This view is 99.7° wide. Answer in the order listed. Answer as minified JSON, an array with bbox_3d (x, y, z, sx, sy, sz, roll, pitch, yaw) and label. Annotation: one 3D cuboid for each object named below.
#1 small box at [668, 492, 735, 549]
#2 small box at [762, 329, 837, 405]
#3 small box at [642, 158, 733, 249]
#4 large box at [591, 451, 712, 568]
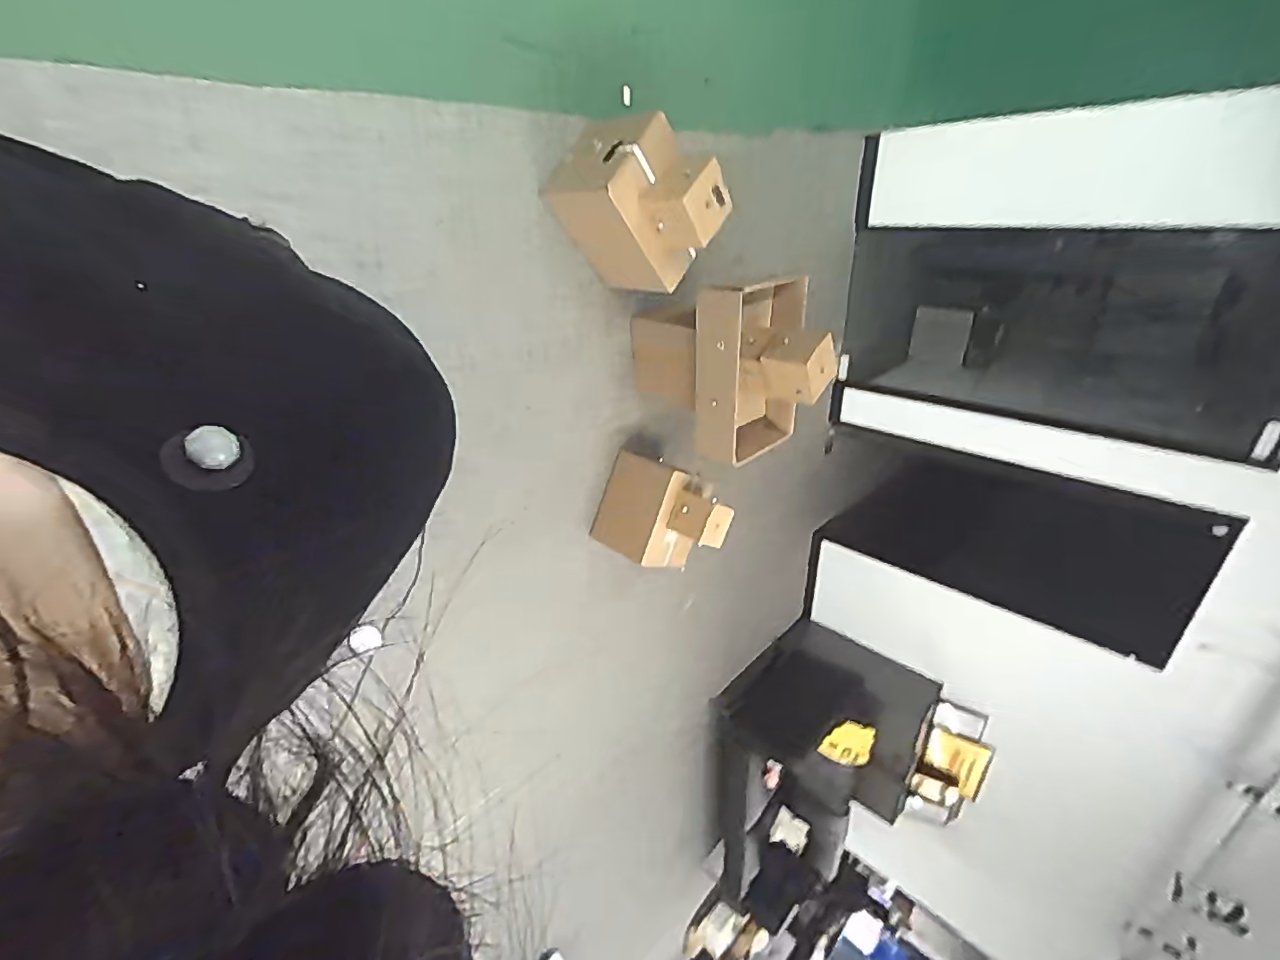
[{"bbox_3d":[0.243,0.160,2.158,0.179,0.176,0.168,21,92,-52],"label":"small box"},{"bbox_3d":[0.529,-0.378,1.793,0.168,0.176,0.179,-51,137,-20],"label":"small box"},{"bbox_3d":[0.137,-0.801,1.571,0.179,0.176,0.168,-56,139,-13],"label":"small box"},{"bbox_3d":[0.048,0.125,2.304,0.320,0.320,0.408,13,100,-51],"label":"large box"}]
